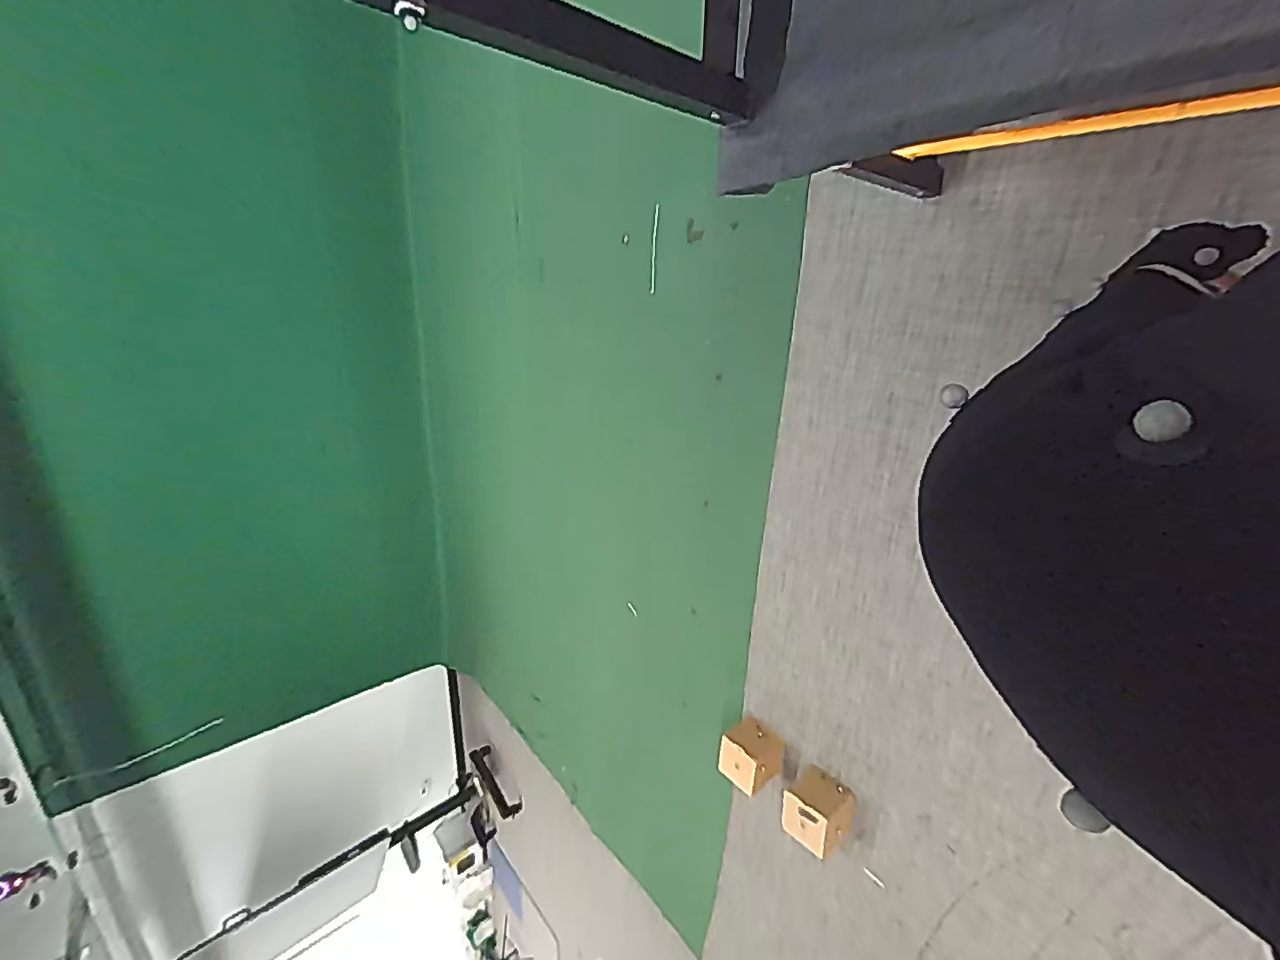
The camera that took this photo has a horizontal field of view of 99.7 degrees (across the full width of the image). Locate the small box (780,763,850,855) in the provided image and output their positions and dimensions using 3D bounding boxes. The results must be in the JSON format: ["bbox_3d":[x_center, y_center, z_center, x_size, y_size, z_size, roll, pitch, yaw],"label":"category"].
[{"bbox_3d":[0.609,1.128,1.872,0.168,0.176,0.179,18,115,47],"label":"small box"}]

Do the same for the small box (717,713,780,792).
[{"bbox_3d":[0.418,1.040,2.076,0.168,0.176,0.179,22,117,44],"label":"small box"}]
